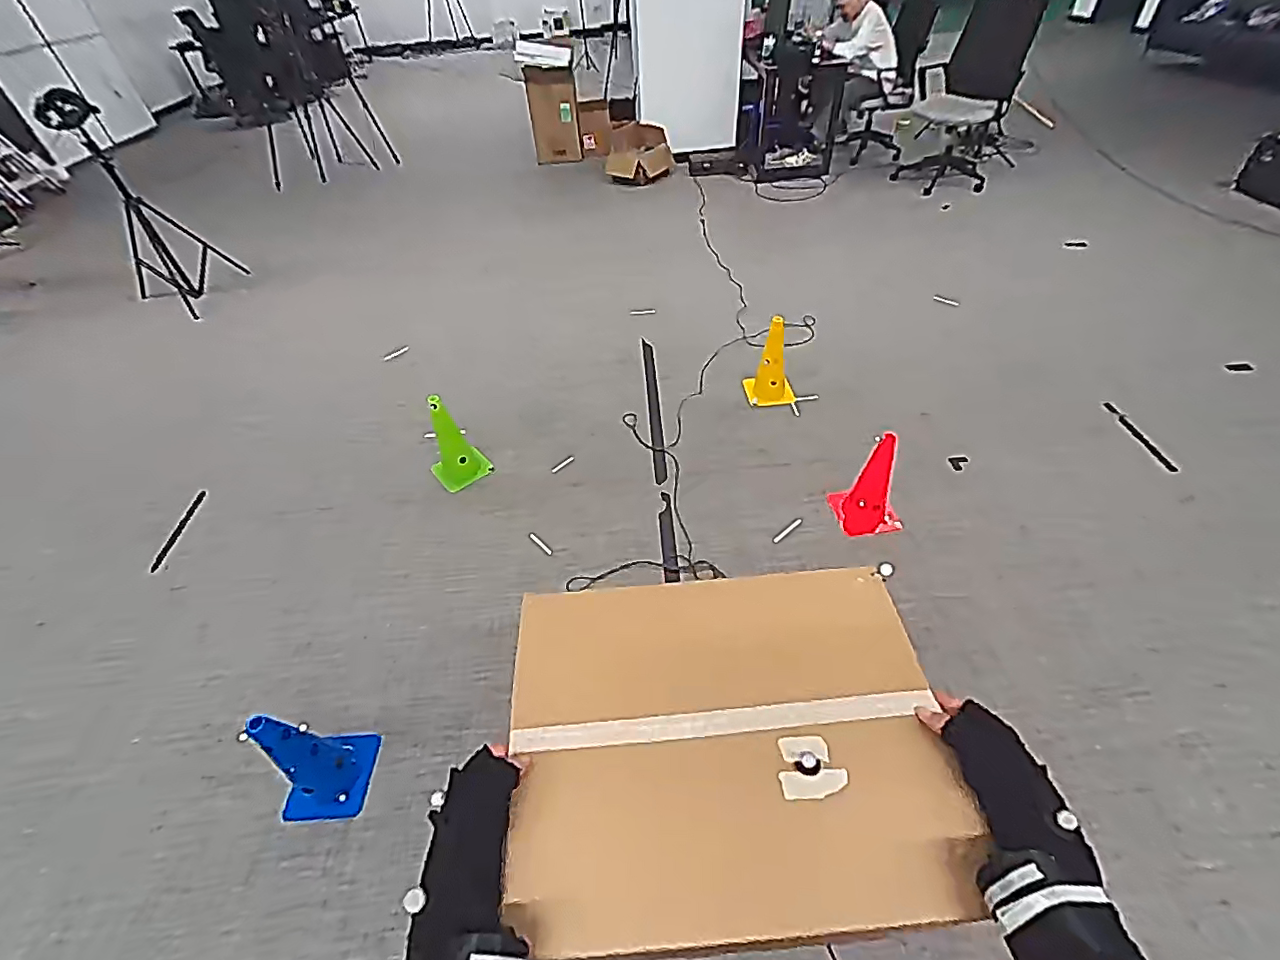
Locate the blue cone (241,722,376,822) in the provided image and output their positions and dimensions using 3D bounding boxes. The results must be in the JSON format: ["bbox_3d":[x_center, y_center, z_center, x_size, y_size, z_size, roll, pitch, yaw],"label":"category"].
[{"bbox_3d":[-0.811,0.663,1.290,0.192,0.380,0.193,-4,46,3],"label":"blue cone"}]

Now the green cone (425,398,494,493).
[{"bbox_3d":[-0.730,-0.163,2.060,0.202,0.368,0.200,-35,52,-24],"label":"green cone"}]

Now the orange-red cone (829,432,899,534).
[{"bbox_3d":[0.773,-0.013,1.777,0.198,0.360,0.199,-6,44,-2],"label":"orange-red cone"}]

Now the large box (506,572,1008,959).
[{"bbox_3d":[0.086,0.337,0.625,0.408,0.320,0.320,-5,48,-1],"label":"large box"}]
